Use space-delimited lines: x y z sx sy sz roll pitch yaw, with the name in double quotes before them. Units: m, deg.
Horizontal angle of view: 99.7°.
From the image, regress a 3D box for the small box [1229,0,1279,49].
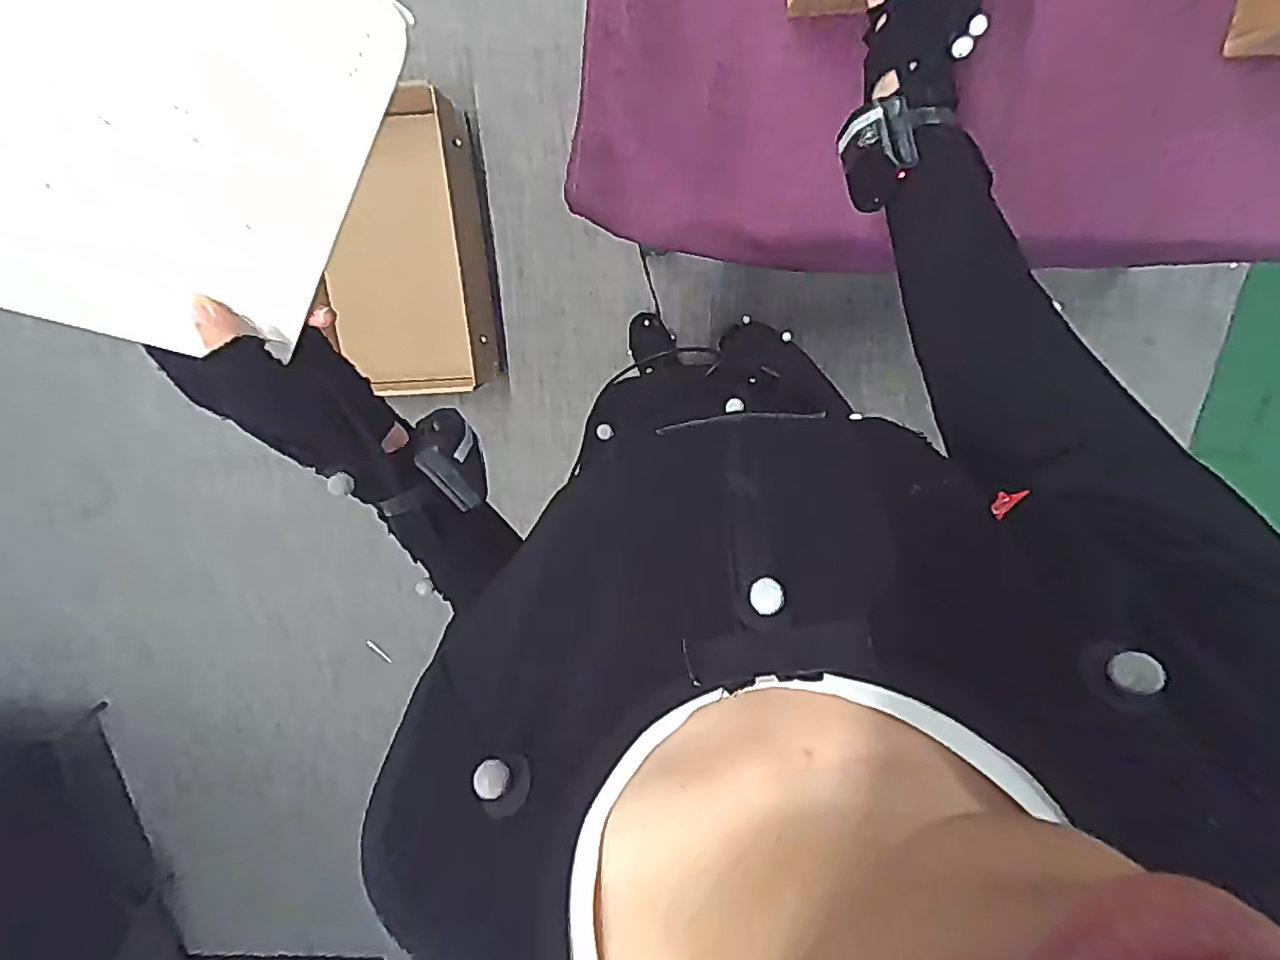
"small box" 0.689 -0.505 0.467 0.168 0.176 0.179 -1 108 2
